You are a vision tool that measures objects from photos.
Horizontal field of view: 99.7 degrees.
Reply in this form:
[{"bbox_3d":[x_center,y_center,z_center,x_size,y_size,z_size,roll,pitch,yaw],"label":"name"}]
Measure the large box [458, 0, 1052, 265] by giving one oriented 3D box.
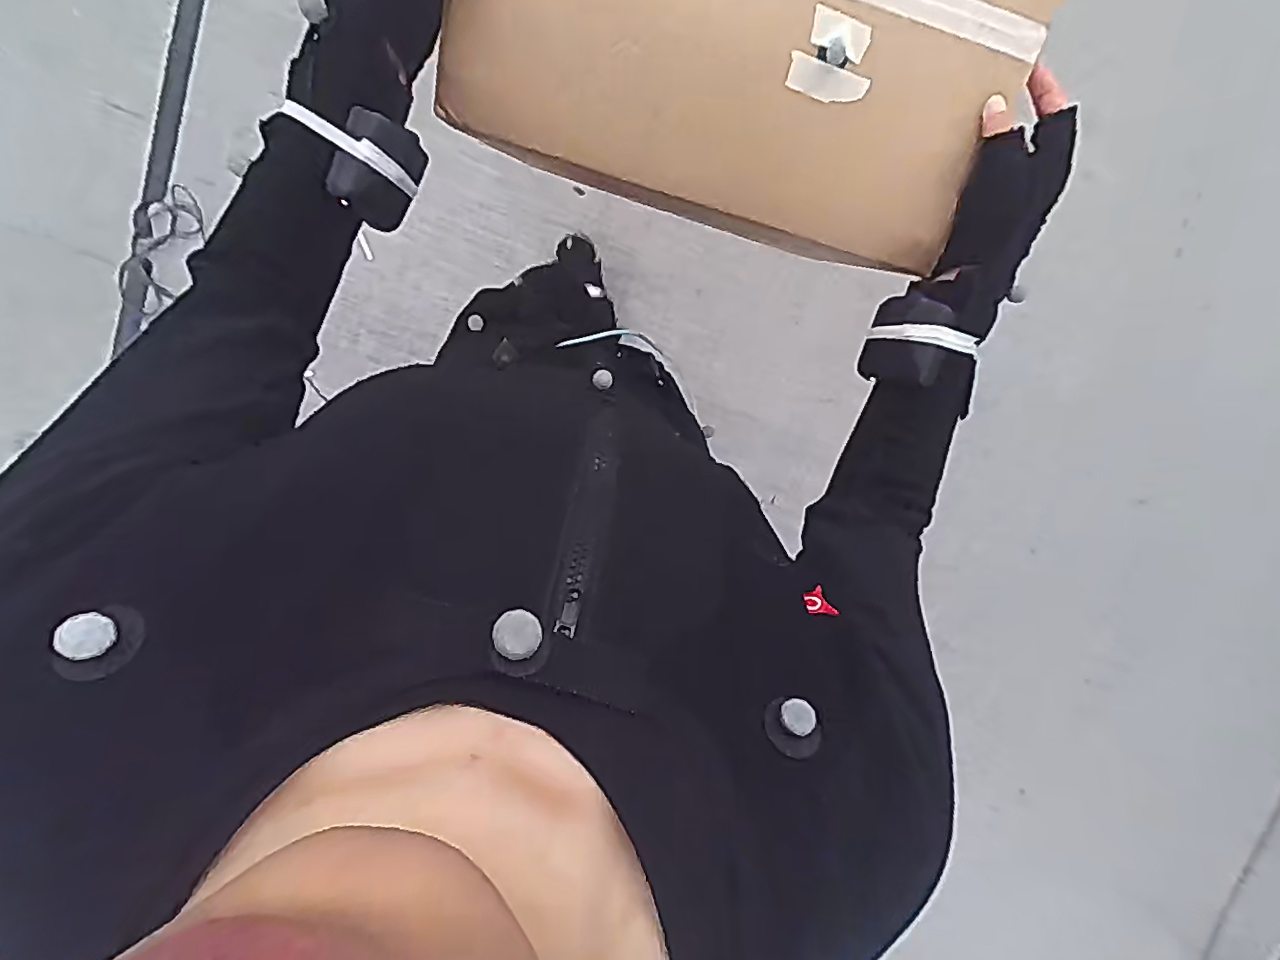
[{"bbox_3d":[0.089,-0.421,0.507,0.408,0.320,0.320,15,115,-7],"label":"large box"}]
